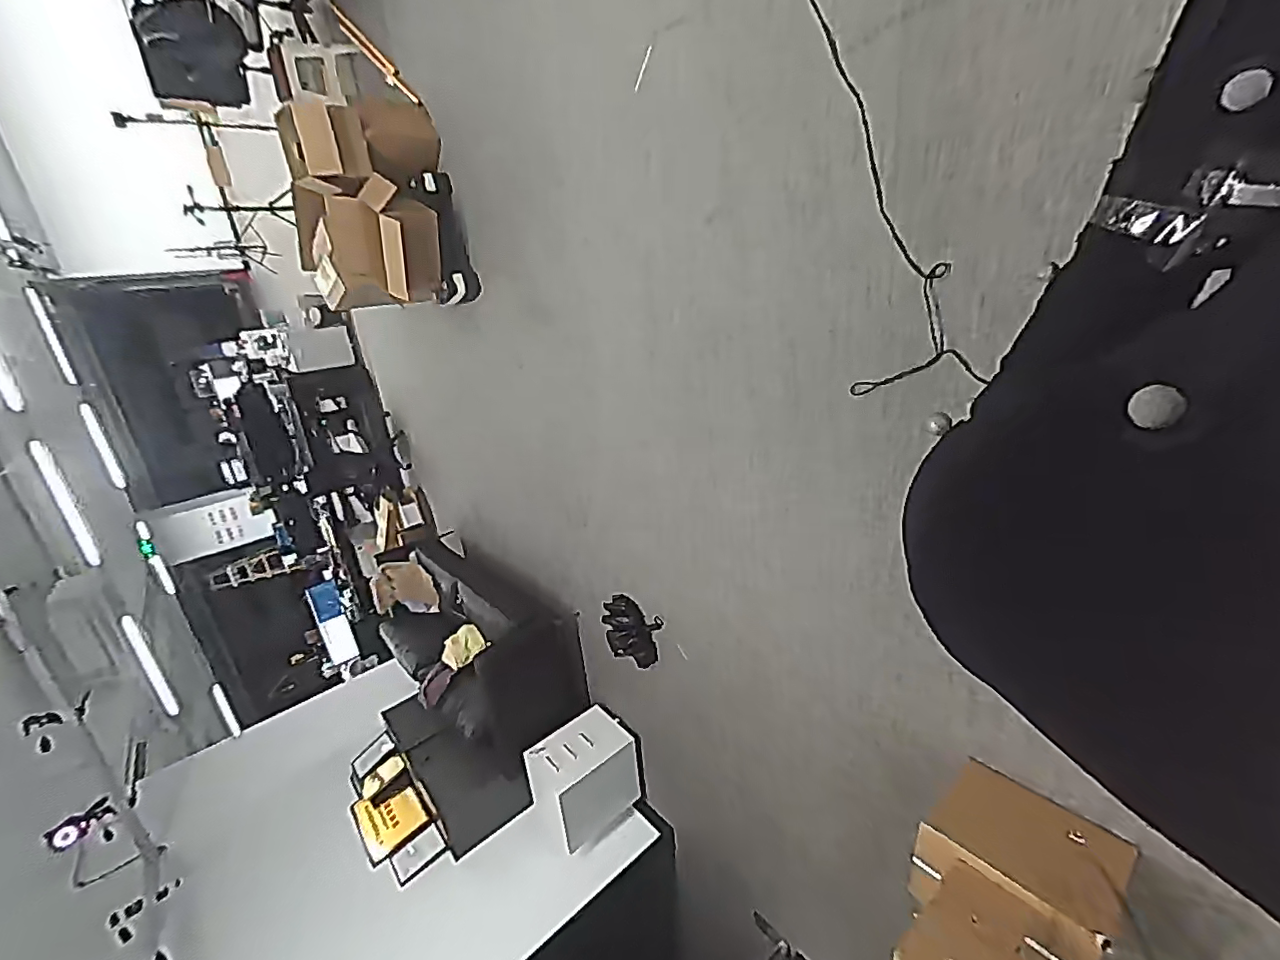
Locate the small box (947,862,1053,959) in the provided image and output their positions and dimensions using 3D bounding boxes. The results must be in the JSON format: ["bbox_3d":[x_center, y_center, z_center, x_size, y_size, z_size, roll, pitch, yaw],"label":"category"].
[{"bbox_3d":[0.876,1.097,1.324,0.179,0.176,0.168,18,121,50],"label":"small box"}]
